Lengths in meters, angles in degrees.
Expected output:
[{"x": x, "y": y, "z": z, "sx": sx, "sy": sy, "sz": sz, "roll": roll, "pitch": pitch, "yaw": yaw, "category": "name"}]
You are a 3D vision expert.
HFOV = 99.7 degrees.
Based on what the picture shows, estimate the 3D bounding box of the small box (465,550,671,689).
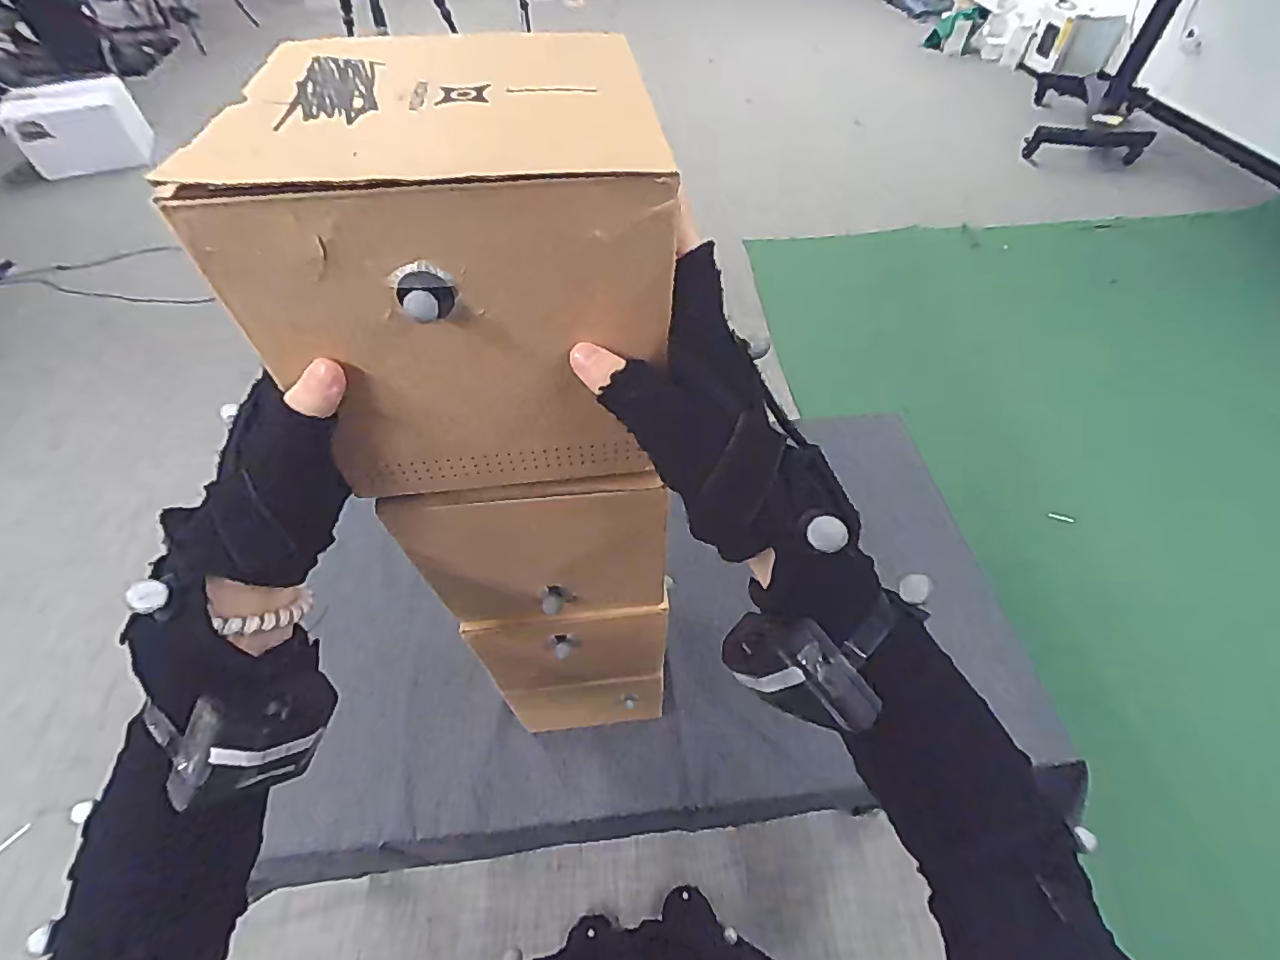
[{"x": -0.068, "y": 0.105, "z": 0.564, "sx": 0.179, "sy": 0.176, "sz": 0.168, "roll": -6, "pitch": 53, "yaw": -3, "category": "small box"}]

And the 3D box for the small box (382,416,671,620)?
[{"x": -0.074, "y": 0.000, "z": 0.437, "sx": 0.179, "sy": 0.176, "sz": 0.168, "roll": -4, "pitch": 52, "yaw": -2, "category": "small box"}]

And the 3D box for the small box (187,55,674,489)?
[{"x": -0.080, "y": -0.109, "z": 0.303, "sx": 0.179, "sy": 0.176, "sz": 0.168, "roll": -5, "pitch": 52, "yaw": -5, "category": "small box"}]
